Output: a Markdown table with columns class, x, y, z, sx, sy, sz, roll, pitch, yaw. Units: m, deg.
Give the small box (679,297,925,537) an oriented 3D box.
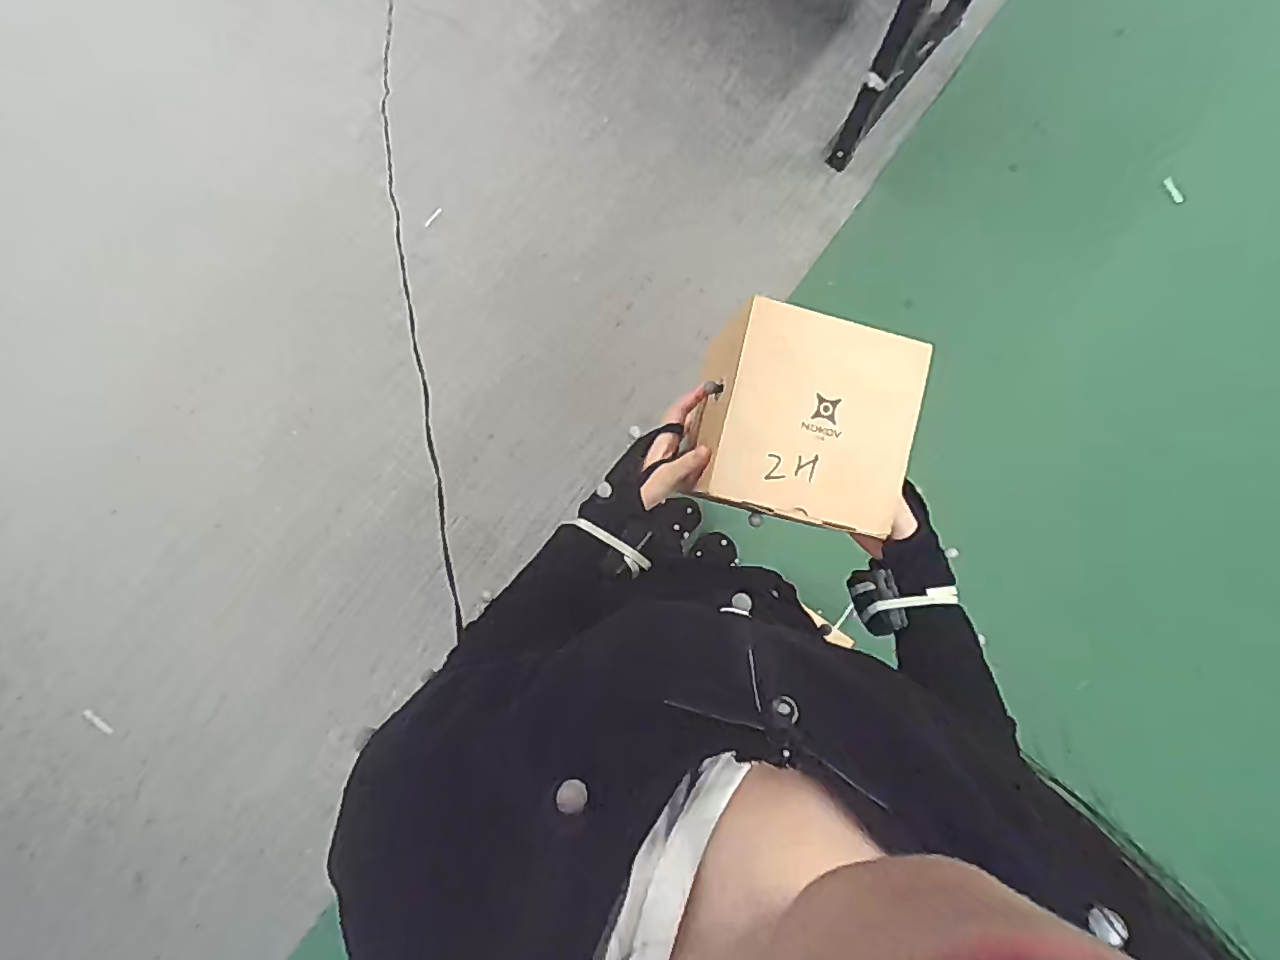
| class | x | y | z | sx | sy | sz | roll | pitch | yaw |
| --- | --- | --- | --- | --- | --- | --- | --- | --- | --- |
| small box | 0.144 | -0.052 | 0.541 | 0.168 | 0.176 | 0.179 | 14 | 88 | -5 |
